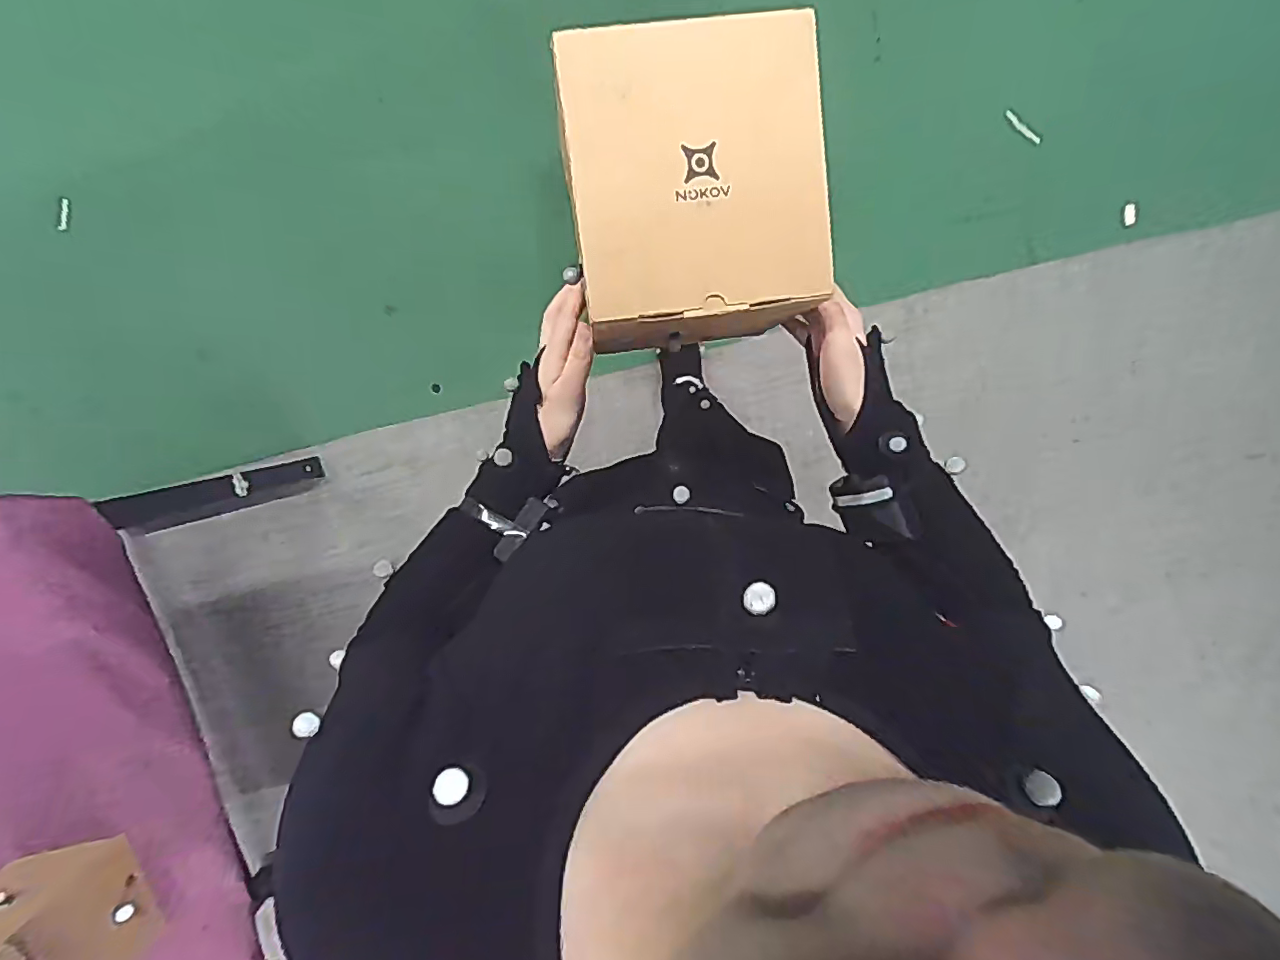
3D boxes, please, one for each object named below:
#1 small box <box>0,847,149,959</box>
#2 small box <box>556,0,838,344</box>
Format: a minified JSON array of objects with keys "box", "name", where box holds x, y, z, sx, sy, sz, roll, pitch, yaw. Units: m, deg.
[{"box":[-0.819,0.629,0.709,0.179,0.176,0.168,-13,99,0],"name":"small box"},{"box":[0.030,-0.210,0.413,0.168,0.176,0.179,-8,99,-5],"name":"small box"}]
